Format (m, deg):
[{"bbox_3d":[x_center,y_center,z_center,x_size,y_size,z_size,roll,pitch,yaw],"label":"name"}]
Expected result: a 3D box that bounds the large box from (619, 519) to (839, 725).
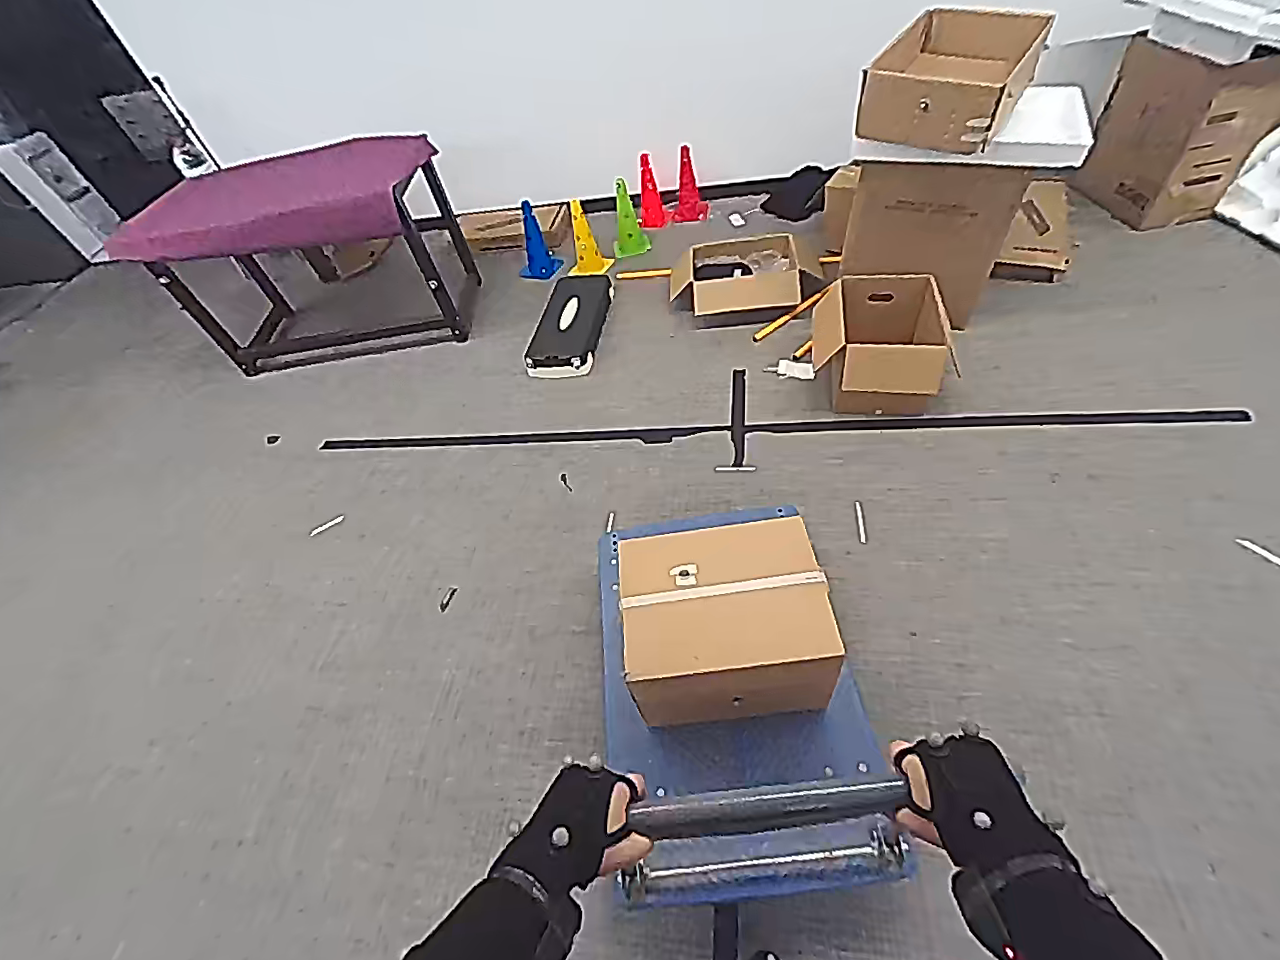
[{"bbox_3d":[0.186,0.328,1.216,0.408,0.320,0.320,-10,49,5],"label":"large box"}]
